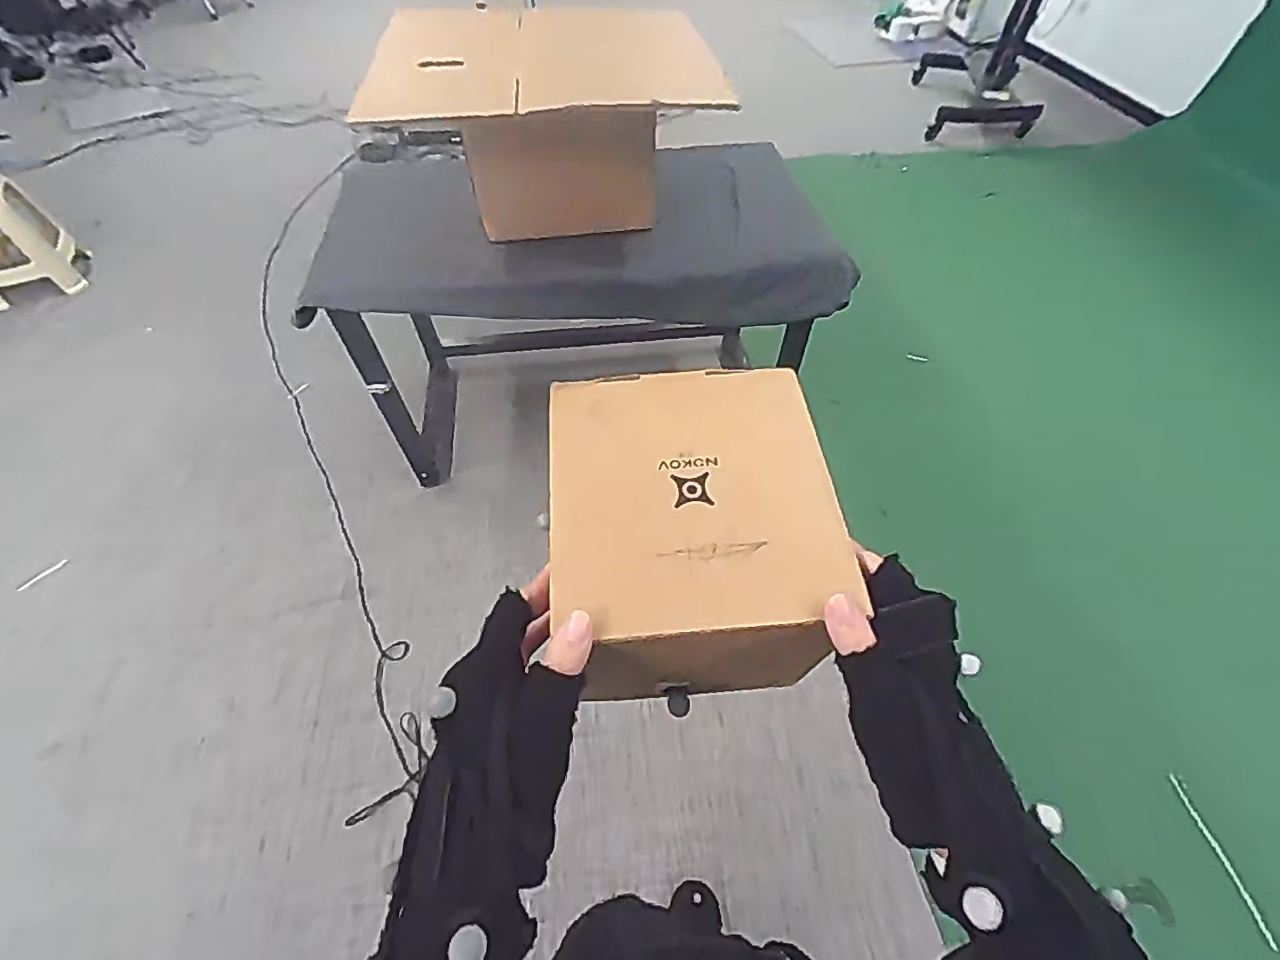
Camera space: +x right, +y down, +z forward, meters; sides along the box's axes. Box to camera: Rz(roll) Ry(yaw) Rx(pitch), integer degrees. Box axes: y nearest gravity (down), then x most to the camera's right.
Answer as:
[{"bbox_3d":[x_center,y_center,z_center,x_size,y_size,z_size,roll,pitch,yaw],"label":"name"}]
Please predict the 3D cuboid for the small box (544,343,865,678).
[{"bbox_3d":[0.026,0.027,0.382,0.168,0.176,0.179,-4,59,-3],"label":"small box"}]
